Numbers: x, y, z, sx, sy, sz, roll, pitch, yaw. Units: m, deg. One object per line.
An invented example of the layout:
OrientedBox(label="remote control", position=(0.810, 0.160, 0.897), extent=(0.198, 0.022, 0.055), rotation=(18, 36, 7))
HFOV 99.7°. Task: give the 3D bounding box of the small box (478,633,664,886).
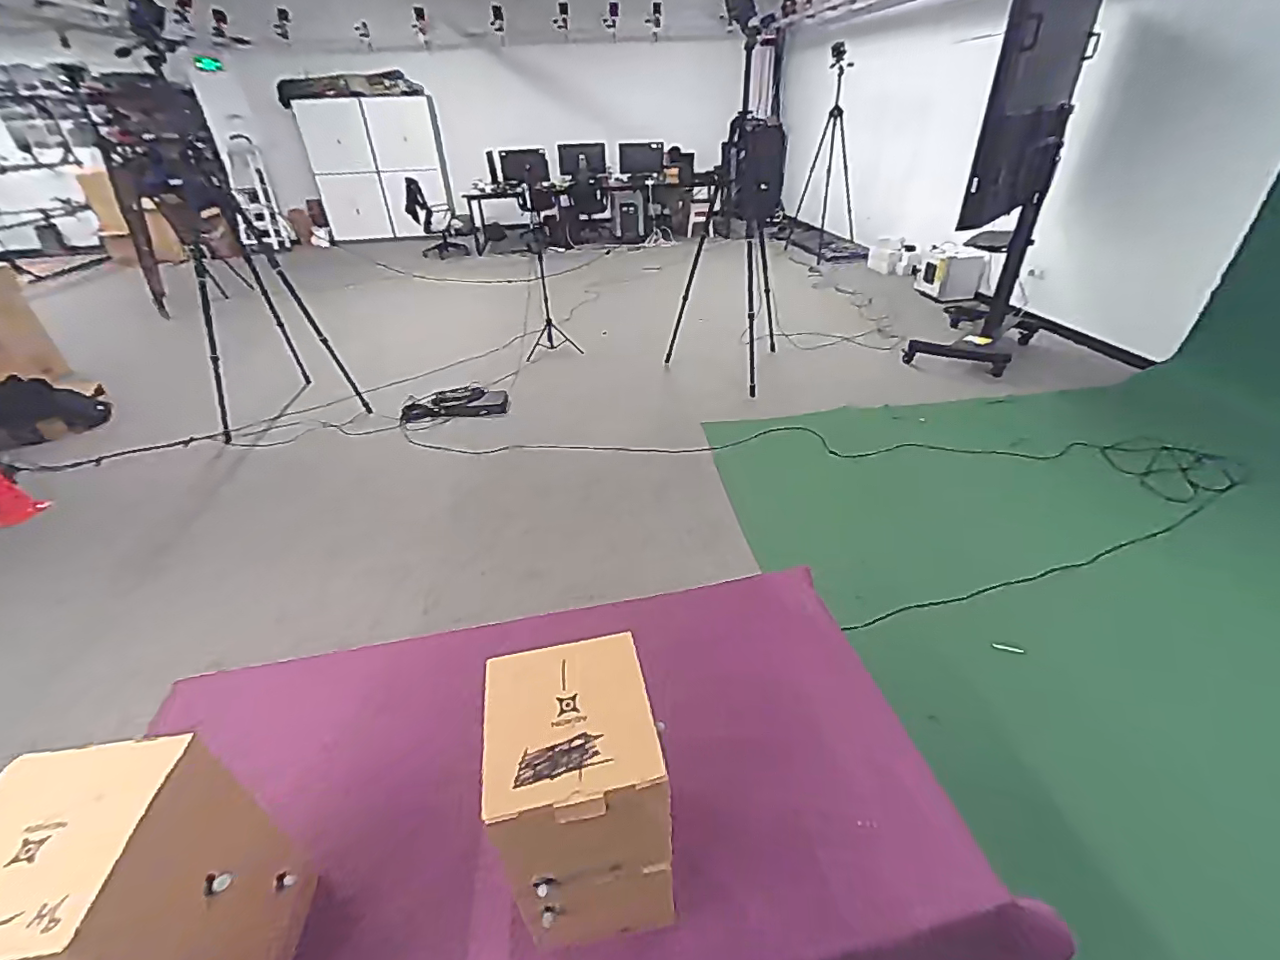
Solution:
OrientedBox(label="small box", position=(-0.072, 0.302, 0.586), extent=(0.168, 0.176, 0.179), rotation=(-9, 33, -9))

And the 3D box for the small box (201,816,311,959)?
OrientedBox(label="small box", position=(-0.501, 0.514, 0.601), extent=(0.168, 0.176, 0.179), rotation=(-6, 35, -4))

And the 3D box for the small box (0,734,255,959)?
OrientedBox(label="small box", position=(-0.509, 0.377, 0.510), extent=(0.168, 0.176, 0.179), rotation=(-7, 33, -3))
